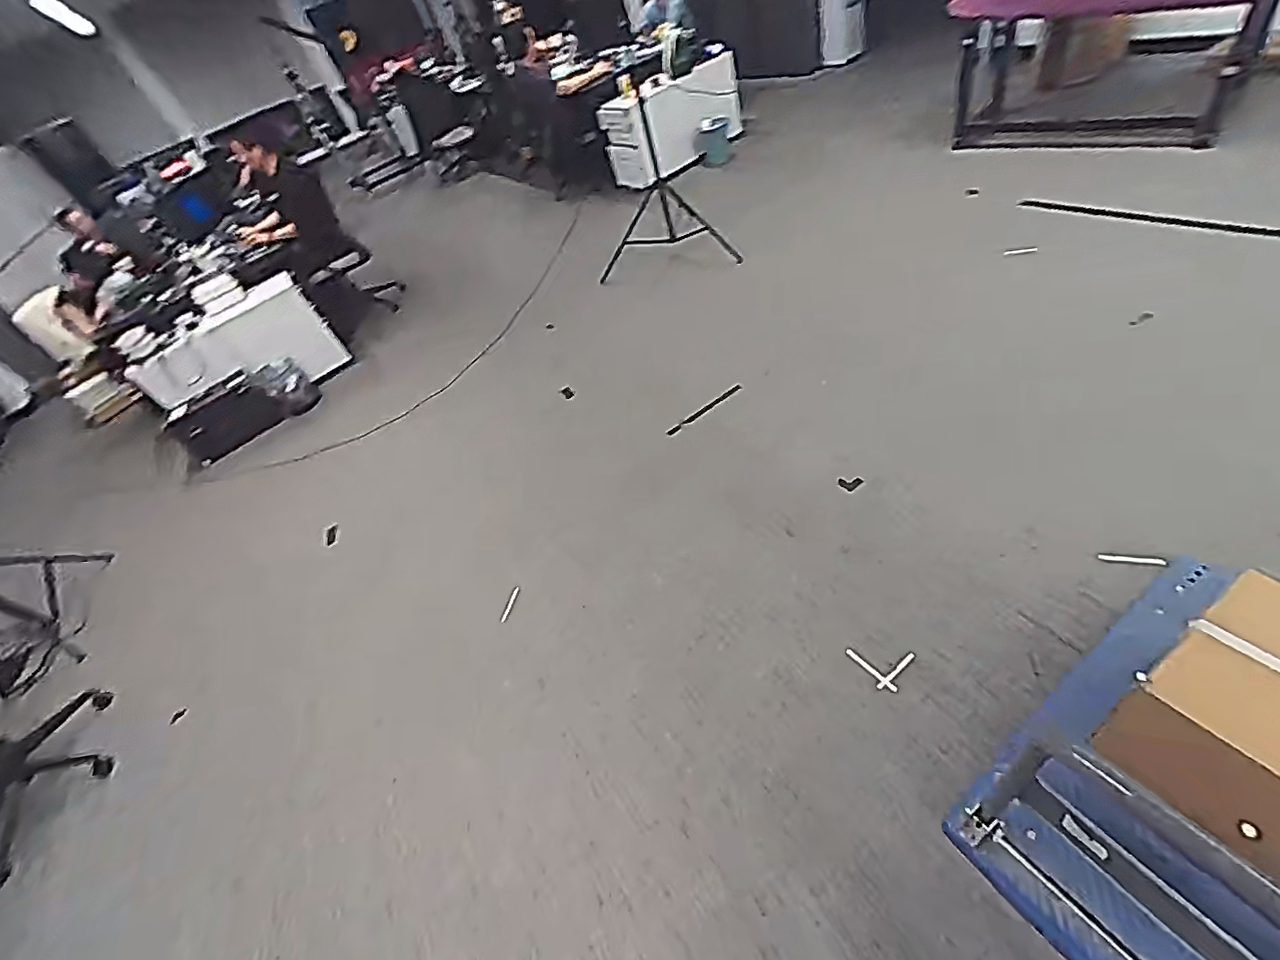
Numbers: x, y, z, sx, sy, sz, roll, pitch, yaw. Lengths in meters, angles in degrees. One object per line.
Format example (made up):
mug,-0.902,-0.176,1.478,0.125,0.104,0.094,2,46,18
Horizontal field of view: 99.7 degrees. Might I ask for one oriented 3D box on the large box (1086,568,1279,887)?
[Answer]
large box,1.051,0.427,0.856,0.320,0.320,0.408,-35,44,-13
